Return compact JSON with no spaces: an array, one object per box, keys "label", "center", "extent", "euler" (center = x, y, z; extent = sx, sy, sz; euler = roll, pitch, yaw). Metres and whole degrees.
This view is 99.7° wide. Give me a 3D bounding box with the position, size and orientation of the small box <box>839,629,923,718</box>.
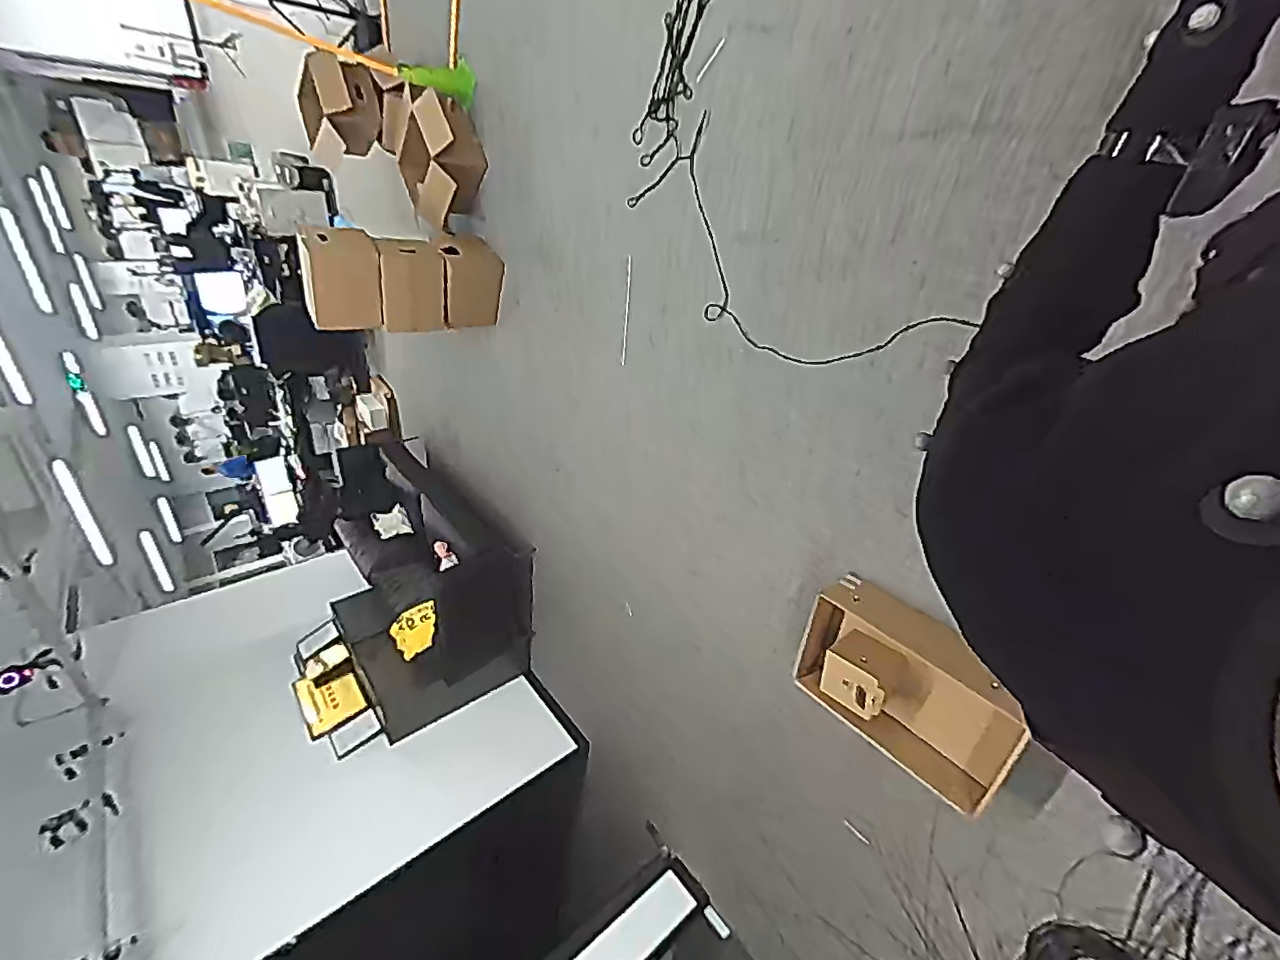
[{"label":"small box","center":[0.761,0.600,1.707],"extent":[0.179,0.176,0.168],"euler":[26,124,45]}]
